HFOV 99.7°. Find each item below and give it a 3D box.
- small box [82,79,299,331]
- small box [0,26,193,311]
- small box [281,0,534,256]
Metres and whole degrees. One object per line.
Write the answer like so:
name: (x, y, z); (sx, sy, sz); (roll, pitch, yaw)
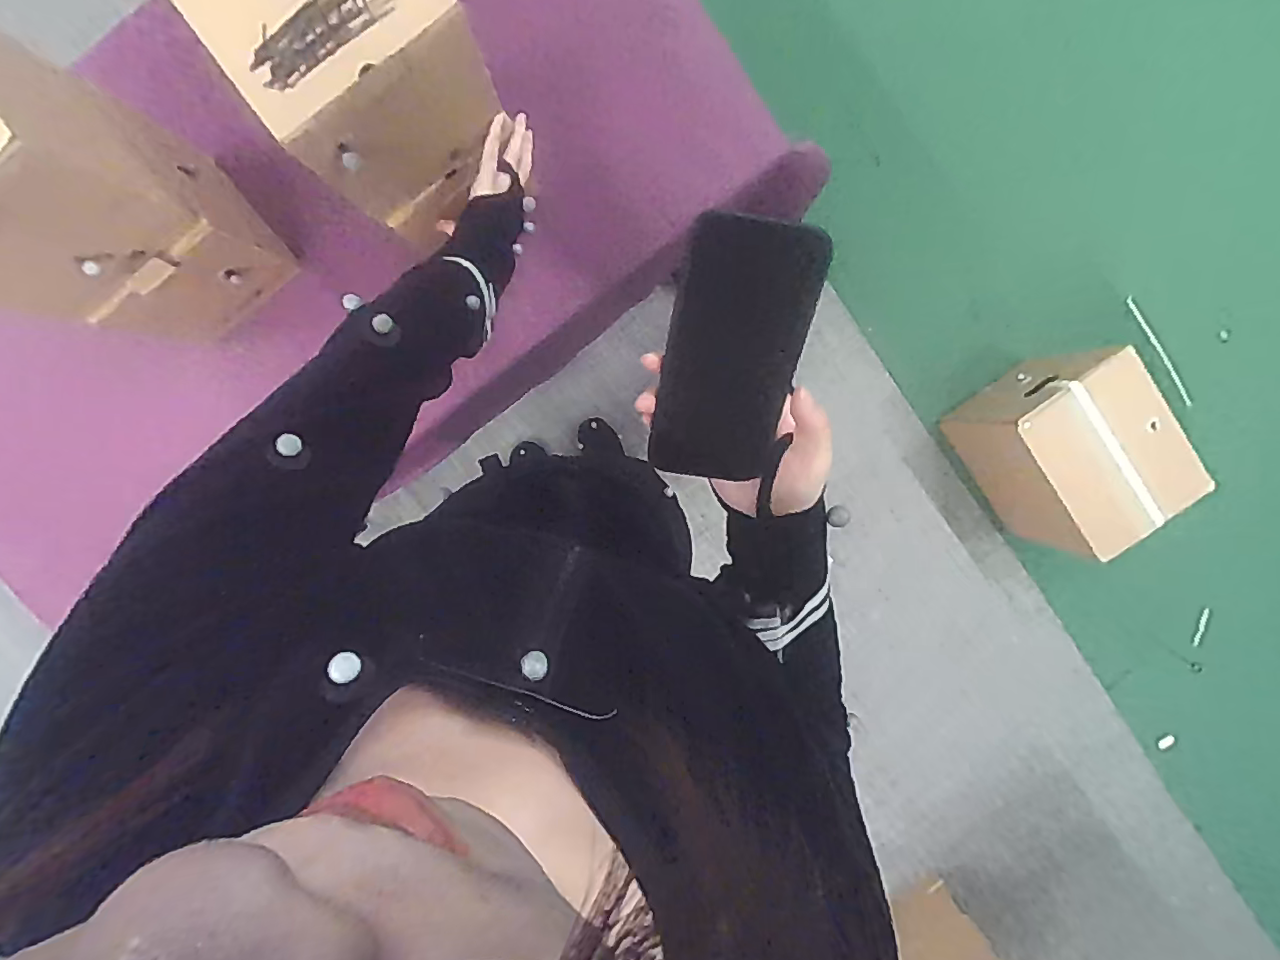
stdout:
small box: (-0.548, -0.290, 0.622); (0.168, 0.176, 0.179); (-37, 97, 2)
small box: (-0.555, -0.271, 0.458); (0.168, 0.176, 0.179); (-38, 97, 3)
small box: (-0.246, -0.393, 0.620); (0.168, 0.176, 0.179); (-37, 98, 3)
